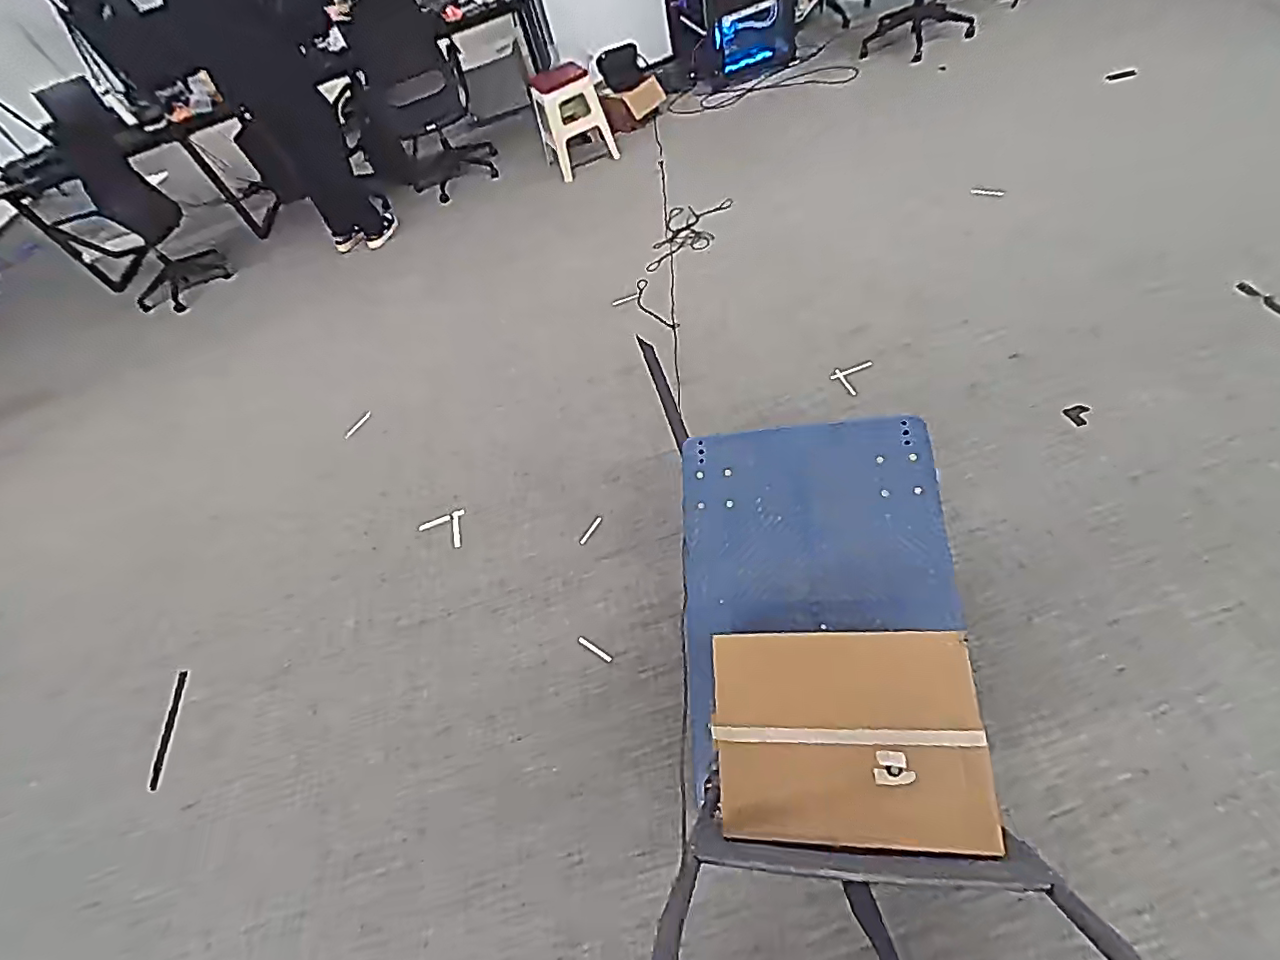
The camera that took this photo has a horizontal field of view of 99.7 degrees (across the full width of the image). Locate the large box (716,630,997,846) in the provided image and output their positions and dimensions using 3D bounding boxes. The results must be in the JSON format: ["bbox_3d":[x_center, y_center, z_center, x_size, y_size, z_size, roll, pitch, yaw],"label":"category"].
[{"bbox_3d":[0.364,0.453,1.018,0.408,0.320,0.320,-5,73,12],"label":"large box"}]
